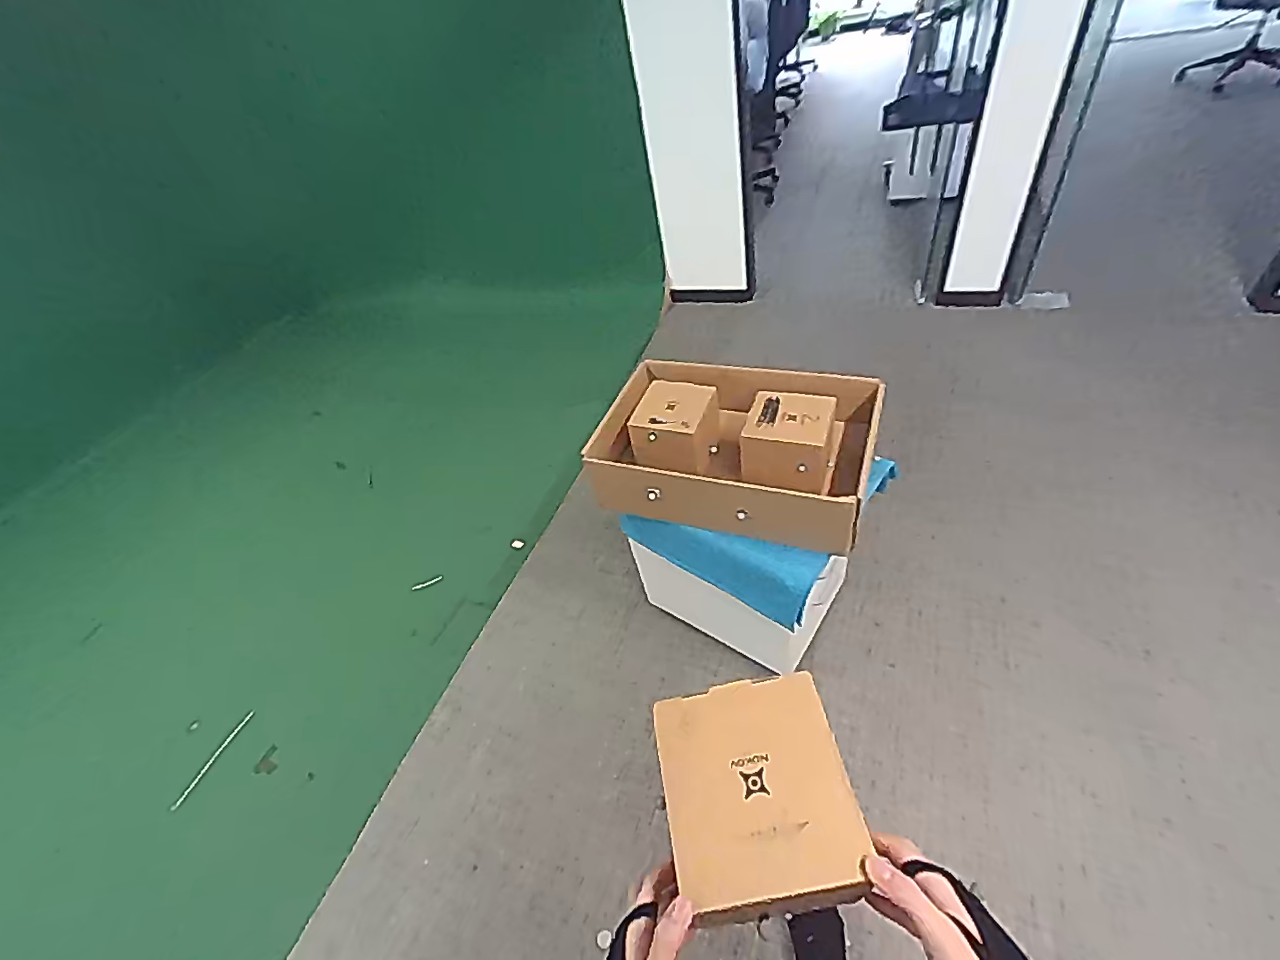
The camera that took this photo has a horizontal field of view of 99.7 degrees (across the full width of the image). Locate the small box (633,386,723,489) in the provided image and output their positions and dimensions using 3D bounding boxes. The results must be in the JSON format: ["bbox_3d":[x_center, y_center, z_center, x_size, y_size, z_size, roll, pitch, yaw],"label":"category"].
[{"bbox_3d":[0.101,-0.106,1.325,0.168,0.176,0.179,10,48,24],"label":"small box"}]

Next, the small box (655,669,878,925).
[{"bbox_3d":[0.114,0.322,0.548,0.168,0.176,0.179,-12,46,3],"label":"small box"}]
